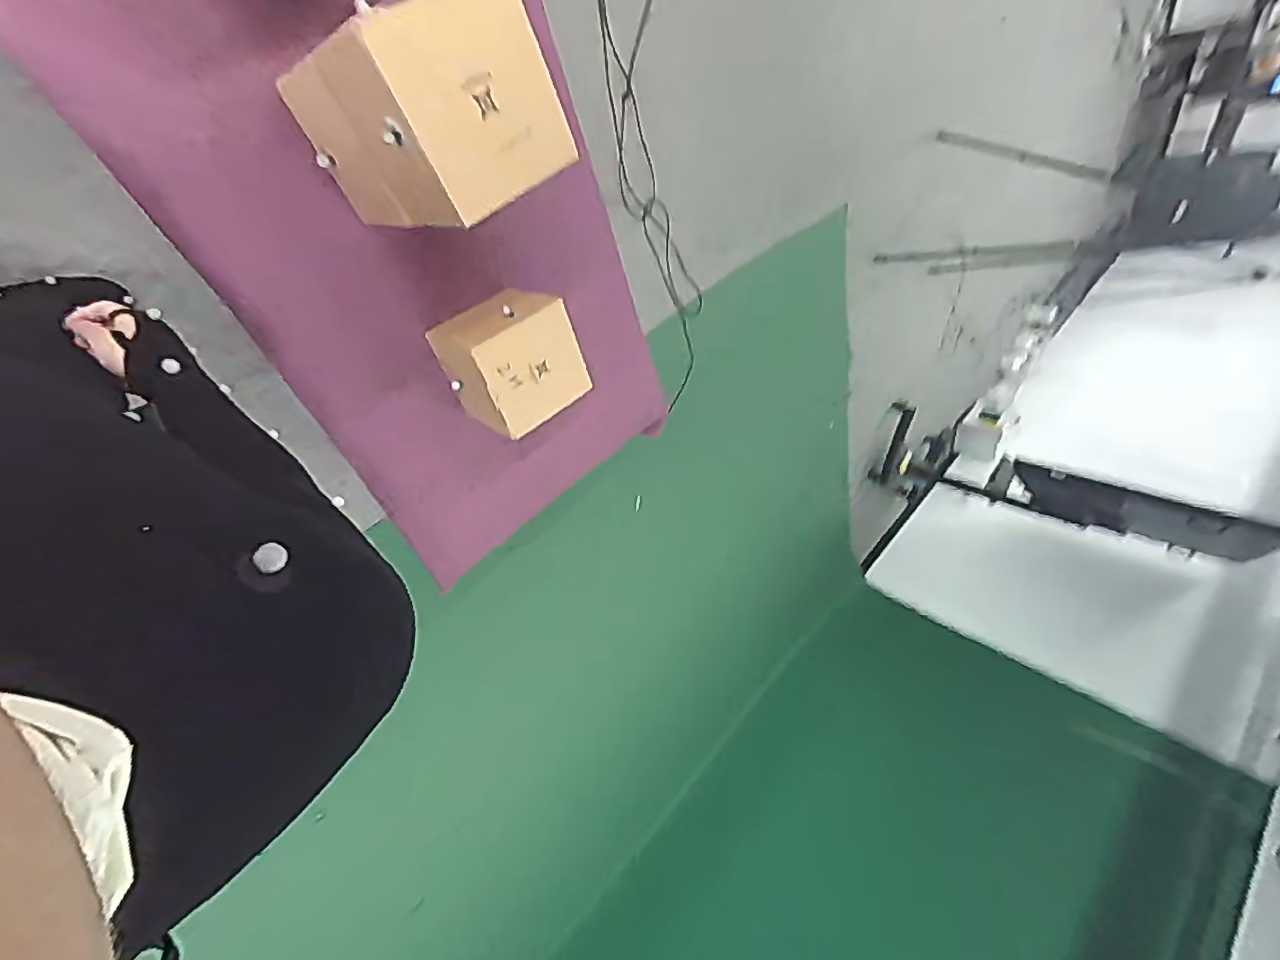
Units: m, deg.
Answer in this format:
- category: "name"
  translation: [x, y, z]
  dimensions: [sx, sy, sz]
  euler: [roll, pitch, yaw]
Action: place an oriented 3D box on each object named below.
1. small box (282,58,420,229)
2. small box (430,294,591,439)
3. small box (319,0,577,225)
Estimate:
- category: "small box"
  translation: [-0.313, -0.449, 0.695]
  dimensions: [0.168, 0.176, 0.179]
  euler: [-44, 135, -21]
- category: "small box"
  translation: [-0.218, -0.200, 0.914]
  dimensions: [0.179, 0.176, 0.168]
  euler: [-39, 131, -25]
- category: "small box"
  translation: [-0.205, -0.396, 0.583]
  dimensions: [0.168, 0.176, 0.179]
  euler: [-43, 134, -20]
